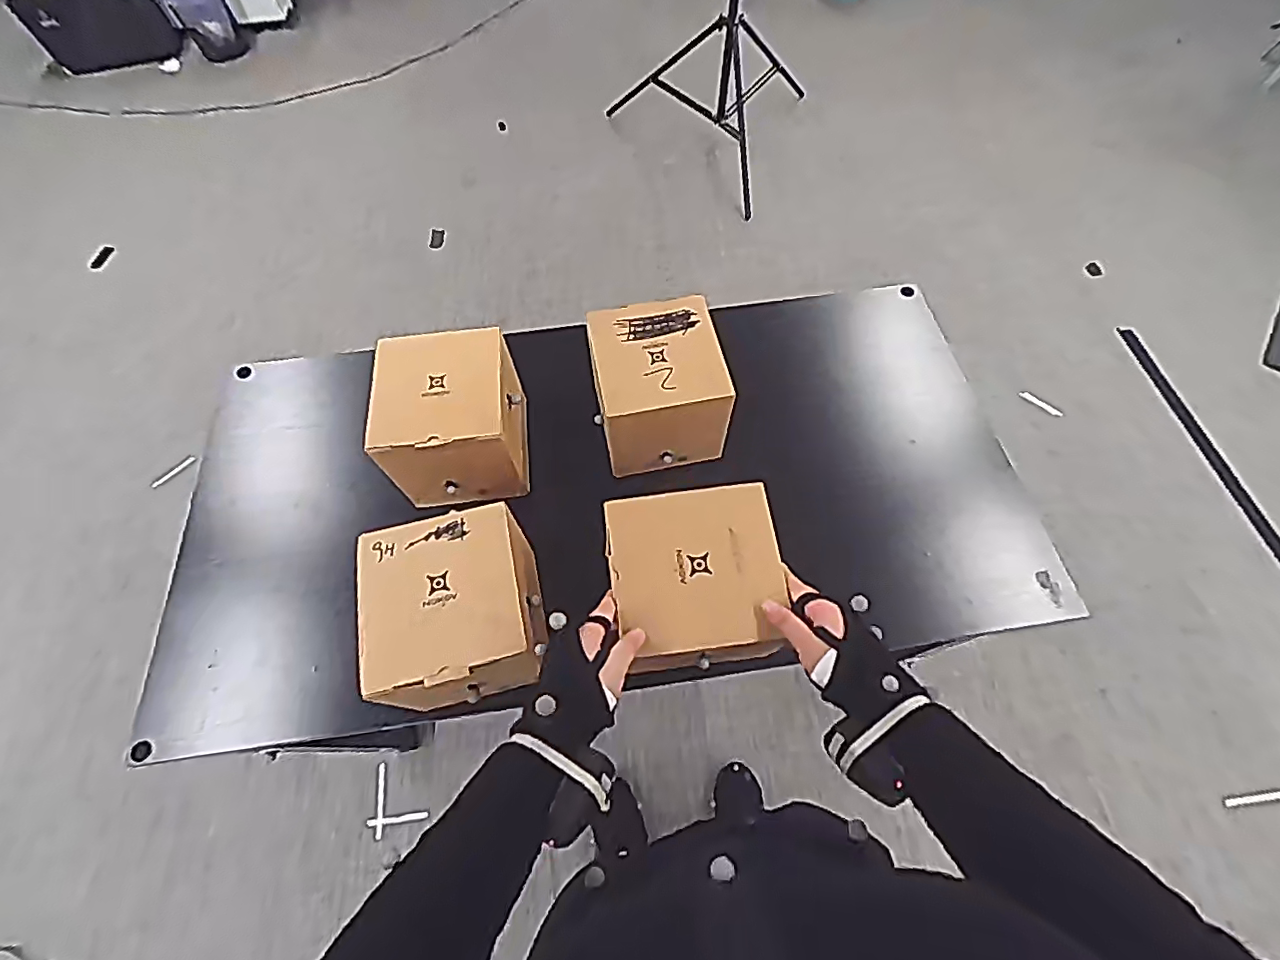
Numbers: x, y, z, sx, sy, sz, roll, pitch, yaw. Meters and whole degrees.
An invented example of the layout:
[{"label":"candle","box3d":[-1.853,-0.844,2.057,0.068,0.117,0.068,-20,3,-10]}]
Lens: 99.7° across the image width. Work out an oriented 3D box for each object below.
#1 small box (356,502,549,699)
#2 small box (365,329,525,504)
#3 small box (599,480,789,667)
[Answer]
[{"label":"small box","box3d":[-0.213,0.152,0.642,0.168,0.176,0.179,-14,64,-5]},{"label":"small box","box3d":[-0.261,-0.085,0.765,0.168,0.176,0.179,-7,64,-2]},{"label":"small box","box3d":[0.054,0.116,0.626,0.179,0.176,0.168,-7,66,-2]}]
